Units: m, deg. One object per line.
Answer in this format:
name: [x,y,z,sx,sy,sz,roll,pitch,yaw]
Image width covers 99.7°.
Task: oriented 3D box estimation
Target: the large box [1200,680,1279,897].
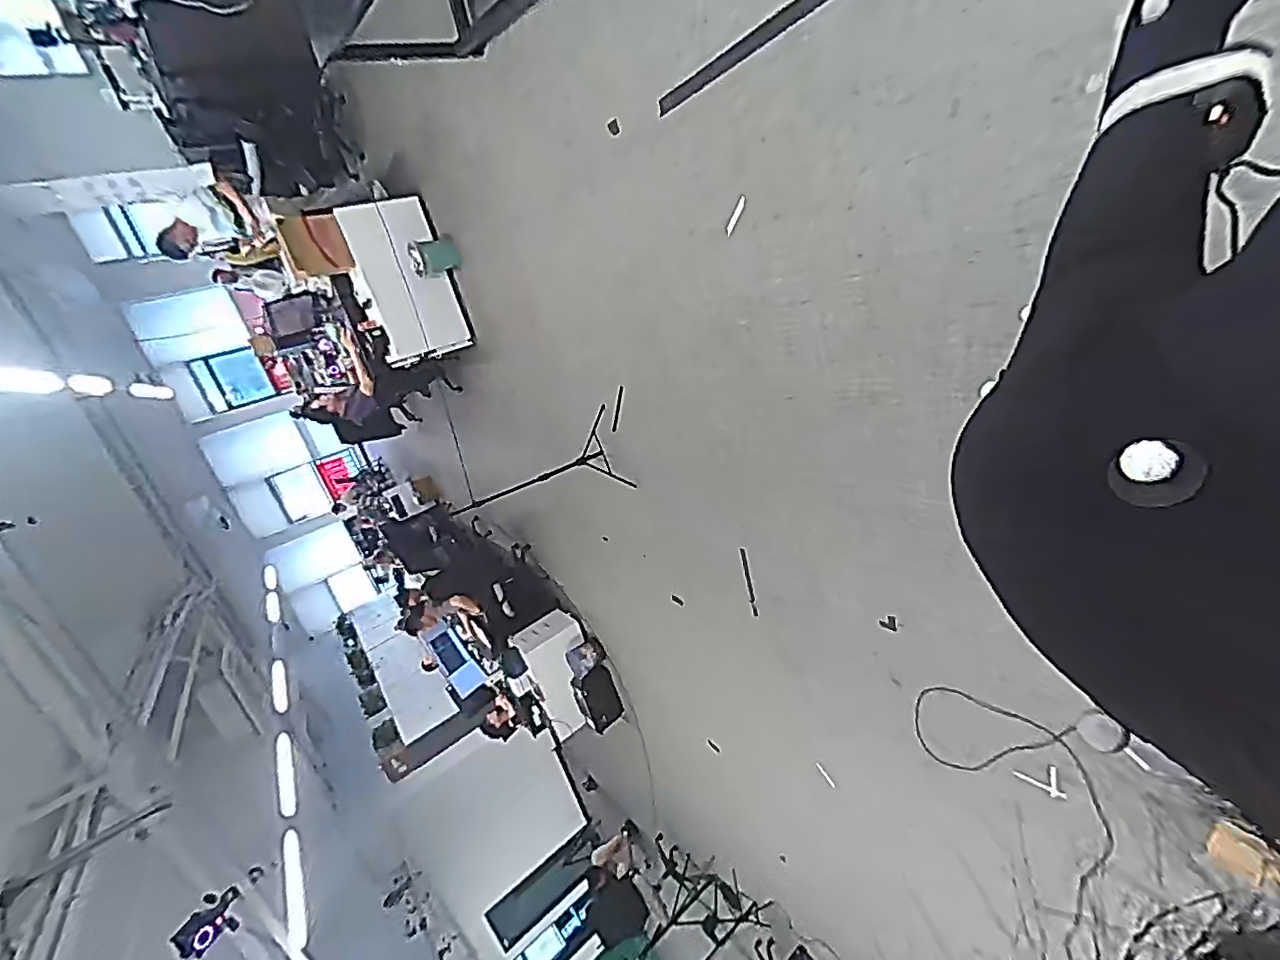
large box: [1.457,0.685,1.067,0.408,0.320,0.320,20,130,48]
